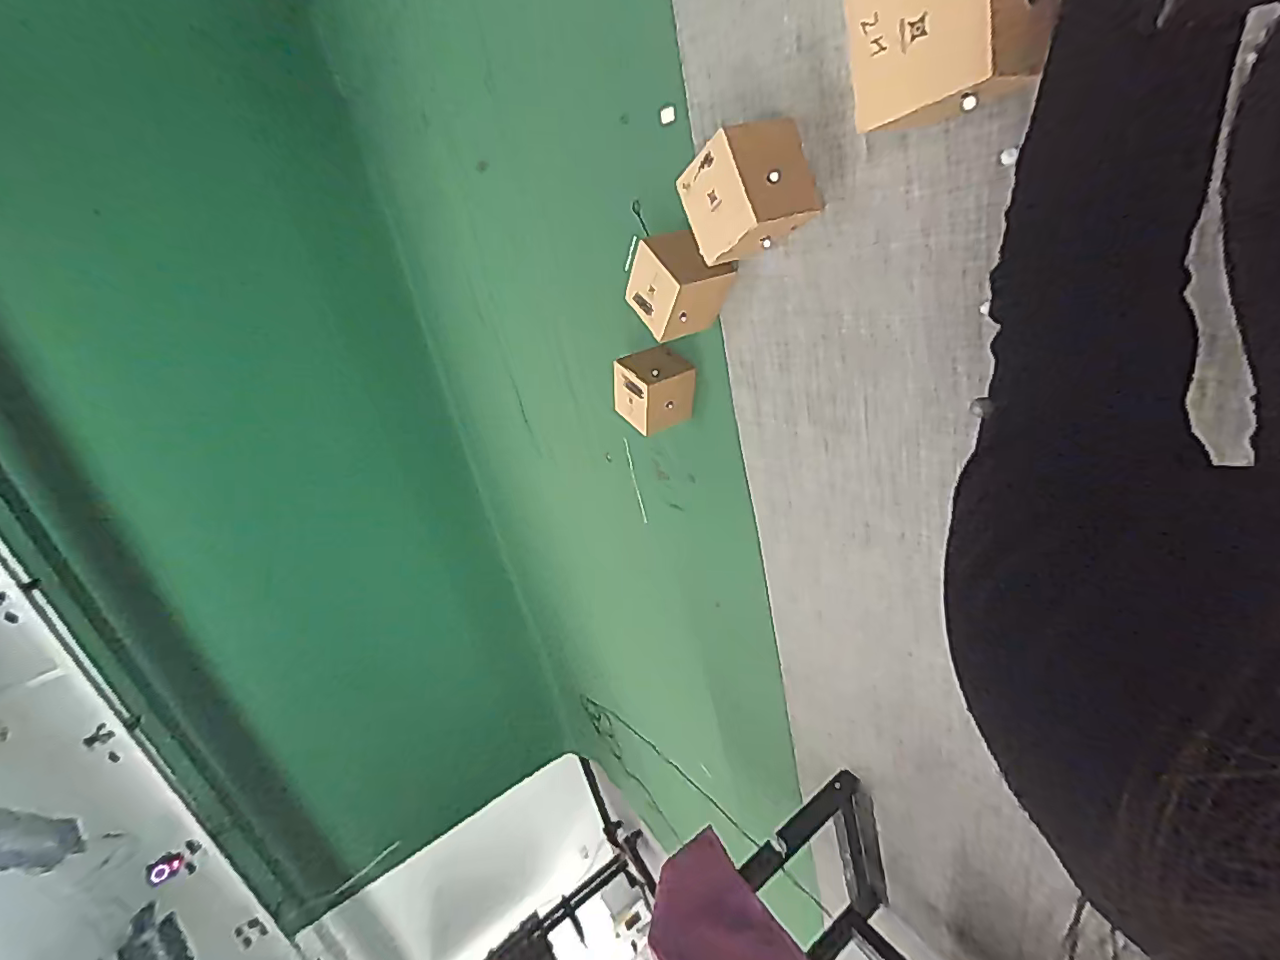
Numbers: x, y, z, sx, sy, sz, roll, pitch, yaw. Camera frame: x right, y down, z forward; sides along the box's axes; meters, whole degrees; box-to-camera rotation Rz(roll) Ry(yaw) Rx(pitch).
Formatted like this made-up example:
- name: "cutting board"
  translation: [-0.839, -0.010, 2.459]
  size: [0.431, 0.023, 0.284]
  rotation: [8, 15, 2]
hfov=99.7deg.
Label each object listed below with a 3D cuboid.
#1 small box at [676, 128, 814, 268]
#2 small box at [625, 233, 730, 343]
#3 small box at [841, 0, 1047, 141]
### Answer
- name: "small box"
  translation: [0.203, -0.538, 1.036]
  size: [0.168, 0.176, 0.179]
  rotation: [-12, 101, 63]
- name: "small box"
  translation: [0.089, -0.465, 1.303]
  size: [0.168, 0.176, 0.179]
  rotation: [56, 151, 19]
- name: "small box"
  translation: [0.386, -0.555, 0.683]
  size: [0.179, 0.176, 0.168]
  rotation: [17, 125, 56]
